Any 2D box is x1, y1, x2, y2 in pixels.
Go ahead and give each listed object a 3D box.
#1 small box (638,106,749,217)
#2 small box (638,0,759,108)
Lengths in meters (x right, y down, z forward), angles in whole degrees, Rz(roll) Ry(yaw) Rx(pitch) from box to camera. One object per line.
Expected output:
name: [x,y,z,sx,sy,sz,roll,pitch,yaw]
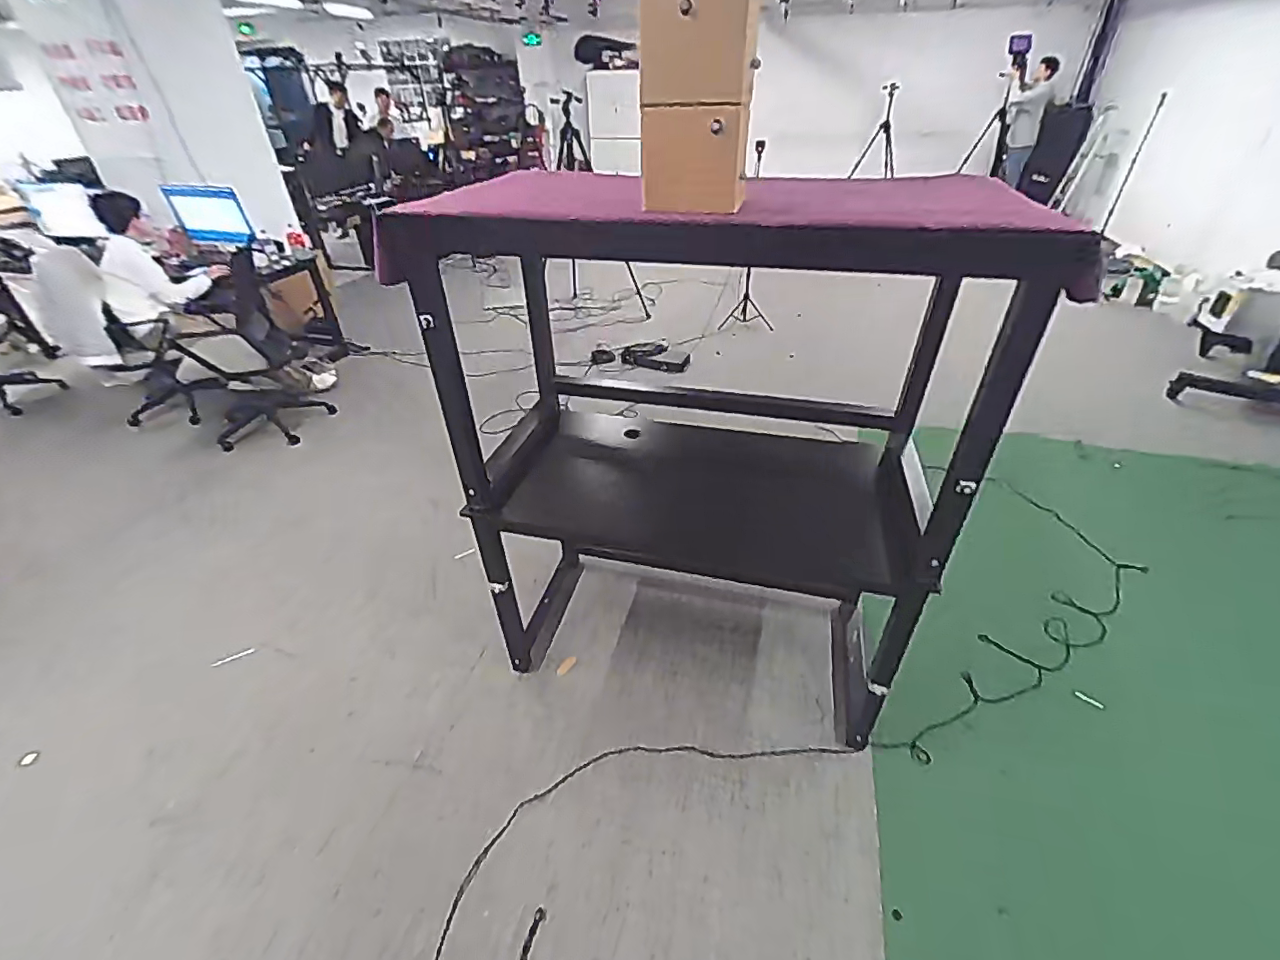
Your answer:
small box: [0.102,-0.592,1.007,0.179,0.176,0.168,8,36,12]
small box: [0.100,-0.728,0.914,0.179,0.176,0.168,8,36,13]
